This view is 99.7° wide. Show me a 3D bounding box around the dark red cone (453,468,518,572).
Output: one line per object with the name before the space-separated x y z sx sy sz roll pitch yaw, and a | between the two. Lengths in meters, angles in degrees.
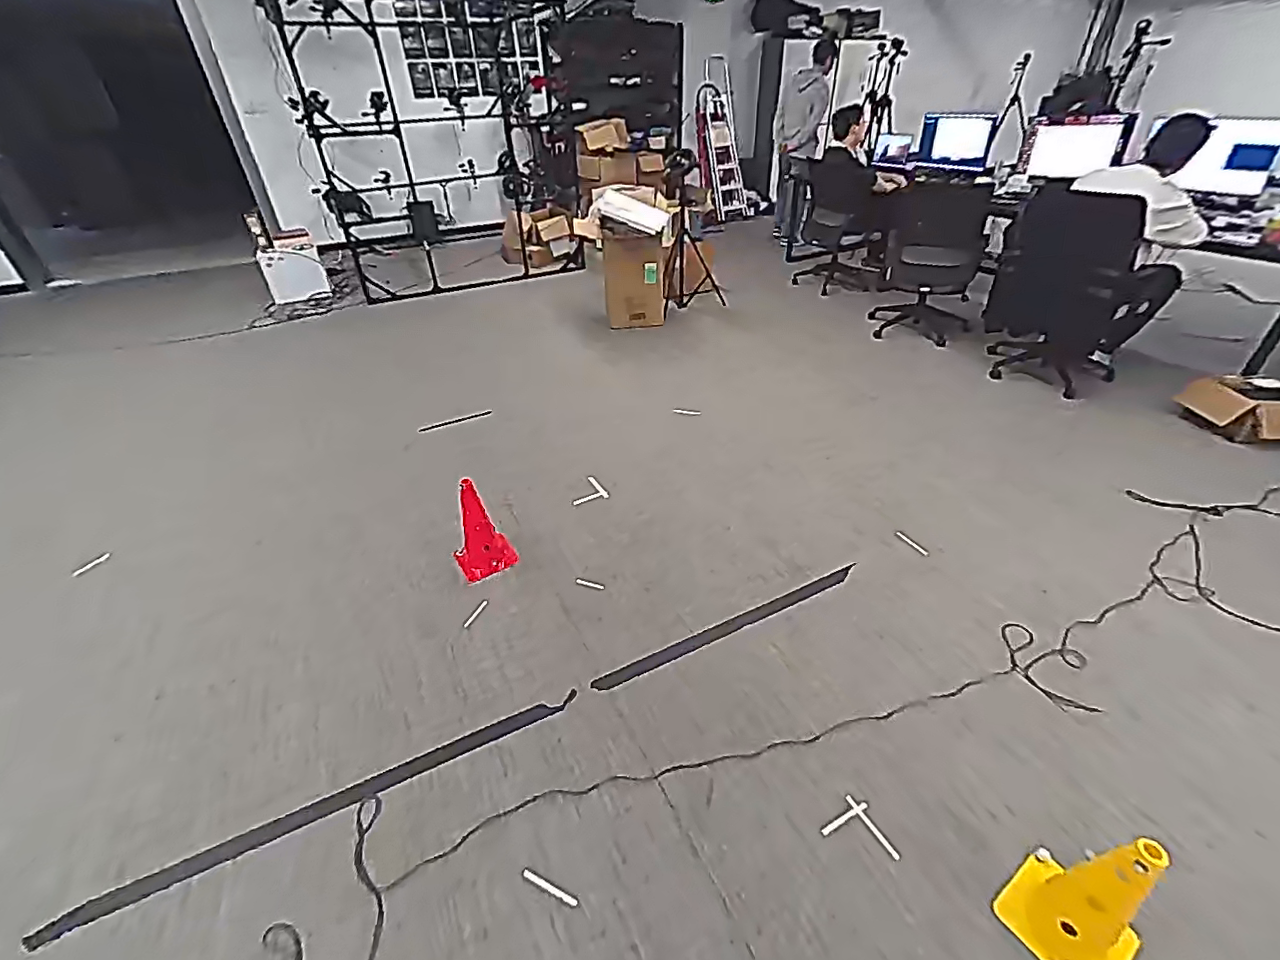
dark red cone | -0.586 0.126 1.933 0.202 0.394 0.201 -23 41 -26
